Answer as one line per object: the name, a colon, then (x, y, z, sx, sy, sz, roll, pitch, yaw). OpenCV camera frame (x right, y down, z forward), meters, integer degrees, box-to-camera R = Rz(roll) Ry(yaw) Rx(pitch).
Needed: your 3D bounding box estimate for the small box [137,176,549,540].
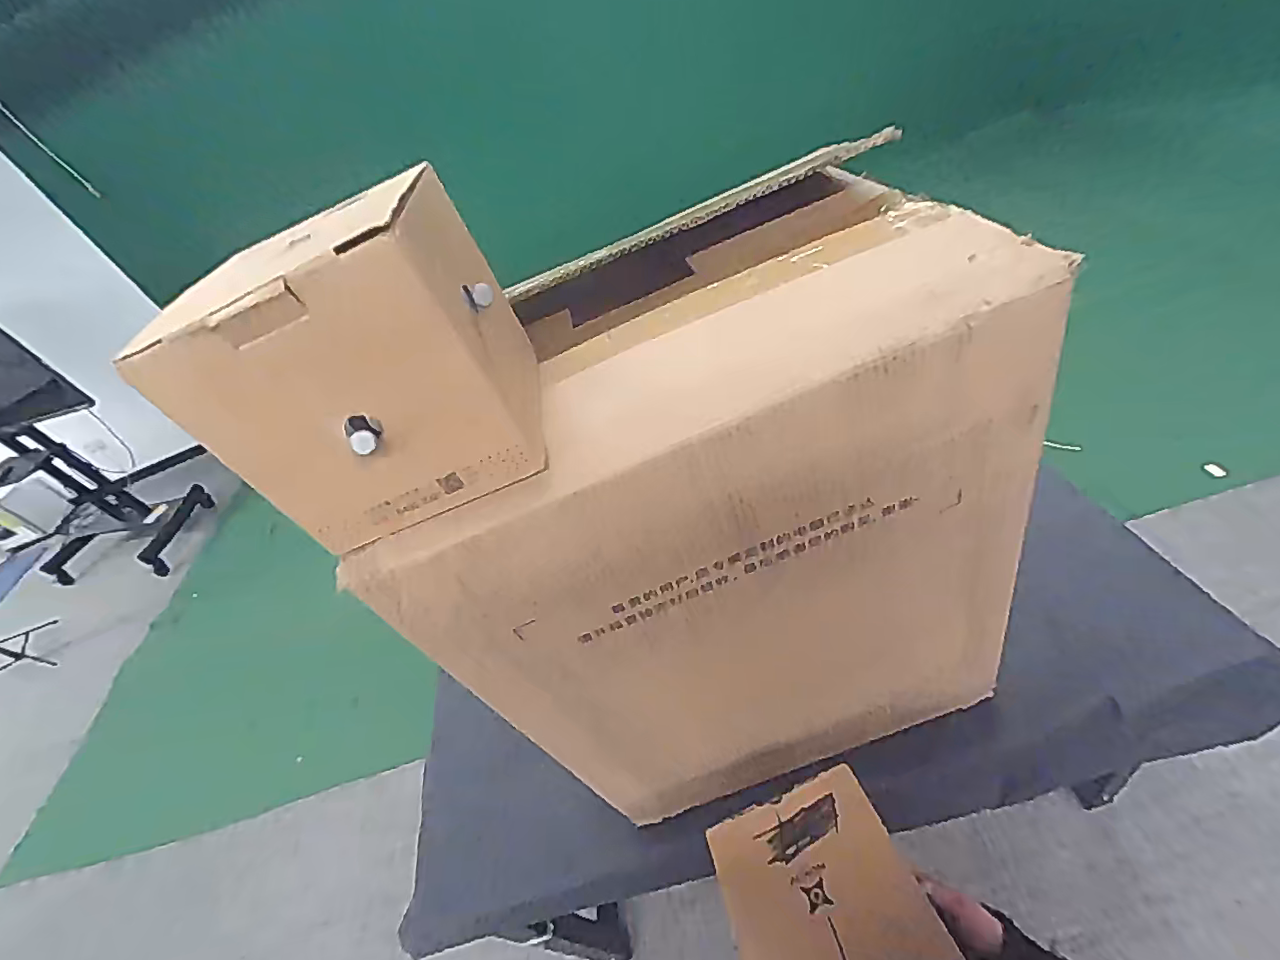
small box: (-0.175, -0.079, 0.387, 0.168, 0.176, 0.179, -22, 41, 5)
